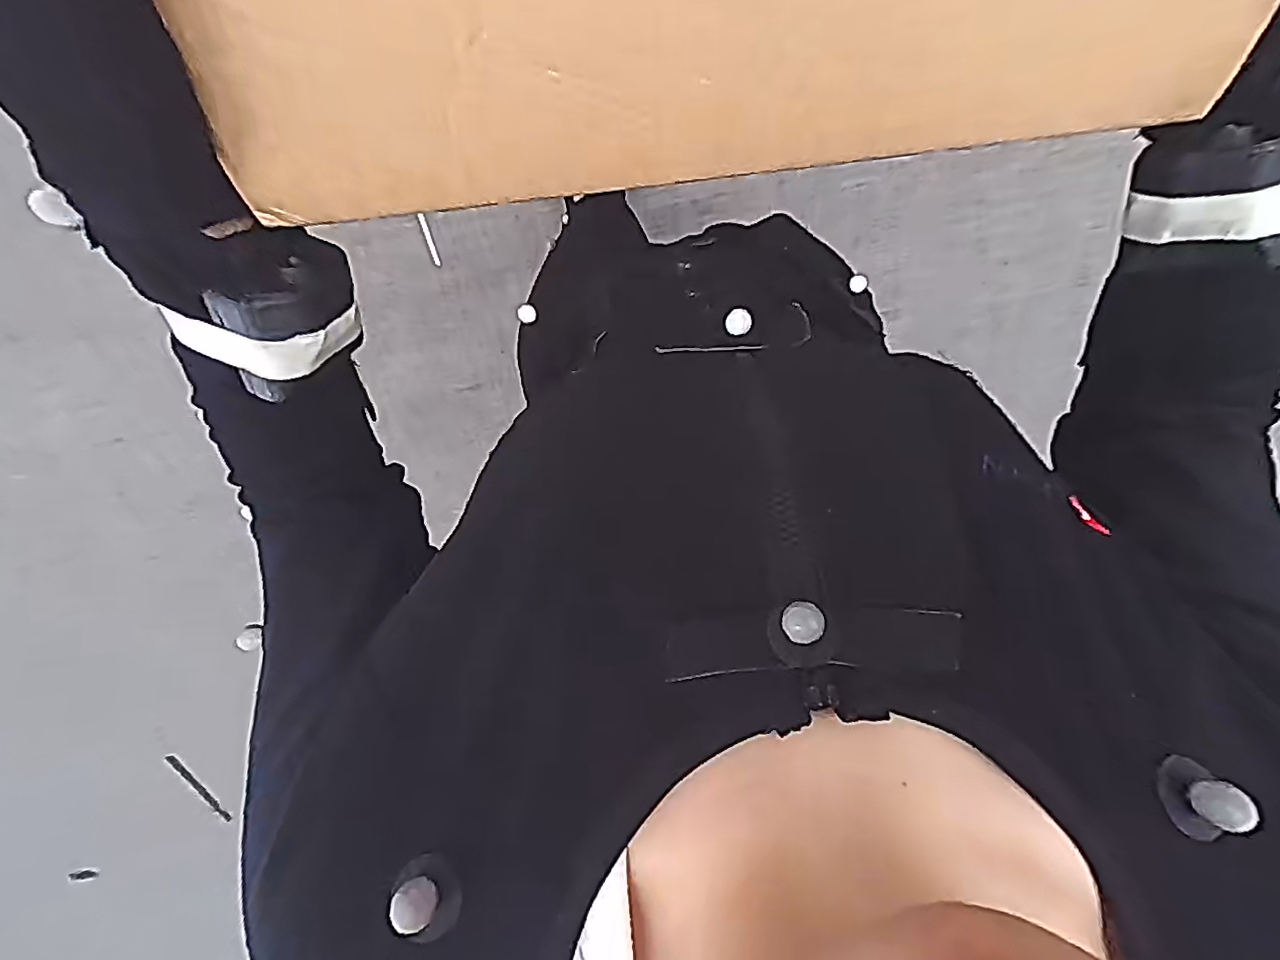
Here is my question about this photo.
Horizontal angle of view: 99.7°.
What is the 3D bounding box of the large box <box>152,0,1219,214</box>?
[{"bbox_3d":[0.013,-0.352,0.211,0.408,0.320,0.320,-8,140,-3],"label":"large box"}]
